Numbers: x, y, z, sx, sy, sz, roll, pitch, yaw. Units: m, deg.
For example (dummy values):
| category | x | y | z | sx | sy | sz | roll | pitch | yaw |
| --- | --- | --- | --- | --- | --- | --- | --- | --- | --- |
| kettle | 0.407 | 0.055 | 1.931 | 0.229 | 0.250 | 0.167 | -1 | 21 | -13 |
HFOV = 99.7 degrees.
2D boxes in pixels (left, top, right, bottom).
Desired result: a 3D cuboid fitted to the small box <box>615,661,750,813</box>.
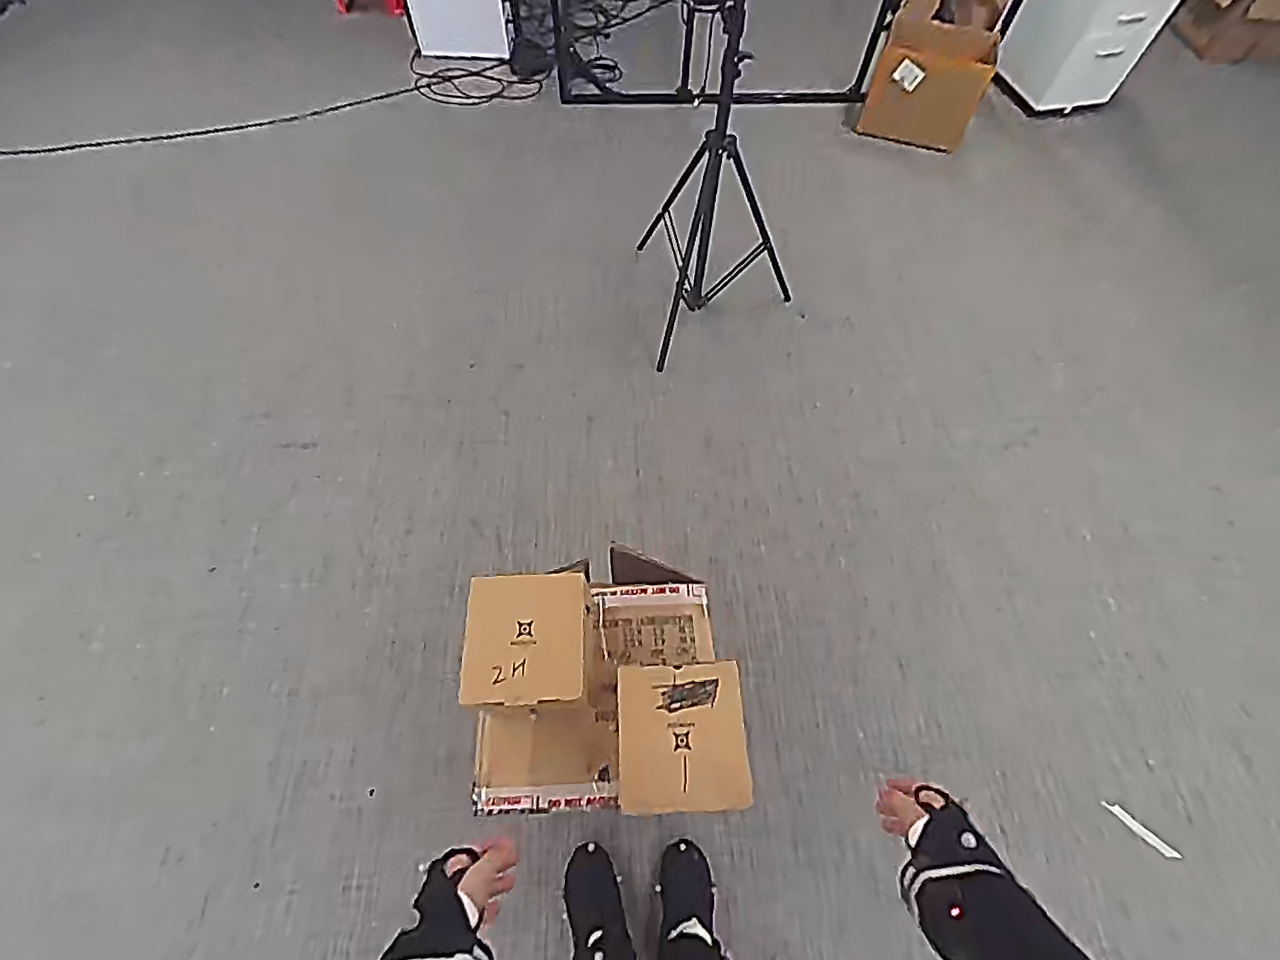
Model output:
| category | x | y | z | sx | sy | sz | roll | pitch | yaw |
| --- | --- | --- | --- | --- | --- | --- | --- | --- | --- |
| small box | 0.049 | 0.365 | 0.773 | 0.168 | 0.176 | 0.179 | -1 | 64 | -3 |

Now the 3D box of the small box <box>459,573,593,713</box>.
| category | x | y | z | sx | sy | sz | roll | pitch | yaw |
| --- | --- | --- | --- | --- | --- | --- | --- | --- | --- |
| small box | -0.161 | 0.252 | 0.823 | 0.168 | 0.176 | 0.179 | -2 | 63 | -1 |
